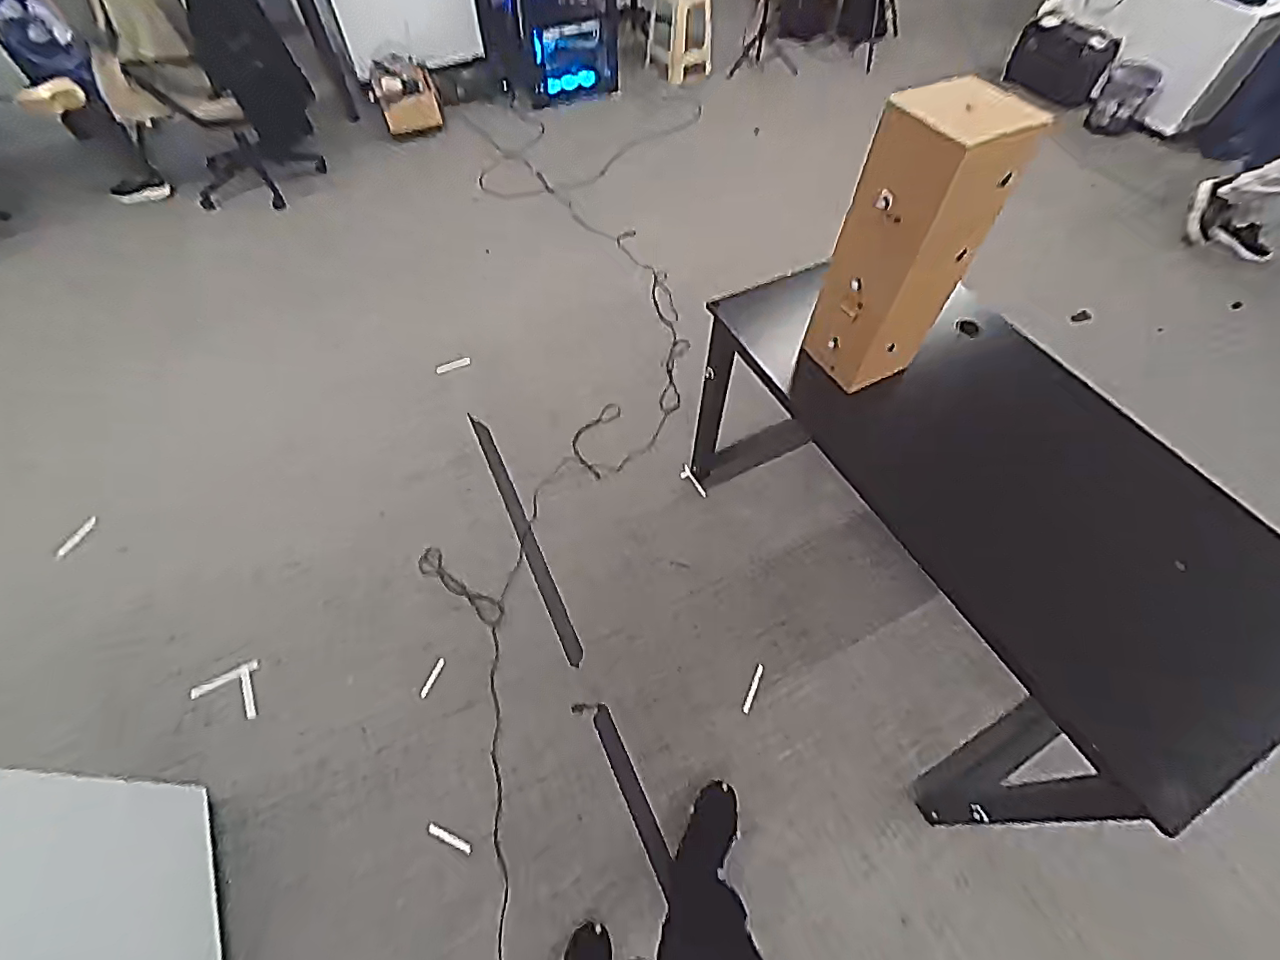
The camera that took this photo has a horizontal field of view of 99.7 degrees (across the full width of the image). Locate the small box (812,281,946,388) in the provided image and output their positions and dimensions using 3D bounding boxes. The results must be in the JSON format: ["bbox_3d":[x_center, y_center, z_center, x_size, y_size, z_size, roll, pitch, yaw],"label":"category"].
[{"bbox_3d":[0.481,-0.321,1.126,0.179,0.176,0.168,-25,61,-15],"label":"small box"}]

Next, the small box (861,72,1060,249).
[{"bbox_3d":[0.485,-0.498,0.850,0.179,0.176,0.168,-25,60,-15],"label":"small box"}]

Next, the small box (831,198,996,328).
[{"bbox_3d":[0.484,-0.411,0.988,0.179,0.176,0.168,-24,60,-15],"label":"small box"}]
